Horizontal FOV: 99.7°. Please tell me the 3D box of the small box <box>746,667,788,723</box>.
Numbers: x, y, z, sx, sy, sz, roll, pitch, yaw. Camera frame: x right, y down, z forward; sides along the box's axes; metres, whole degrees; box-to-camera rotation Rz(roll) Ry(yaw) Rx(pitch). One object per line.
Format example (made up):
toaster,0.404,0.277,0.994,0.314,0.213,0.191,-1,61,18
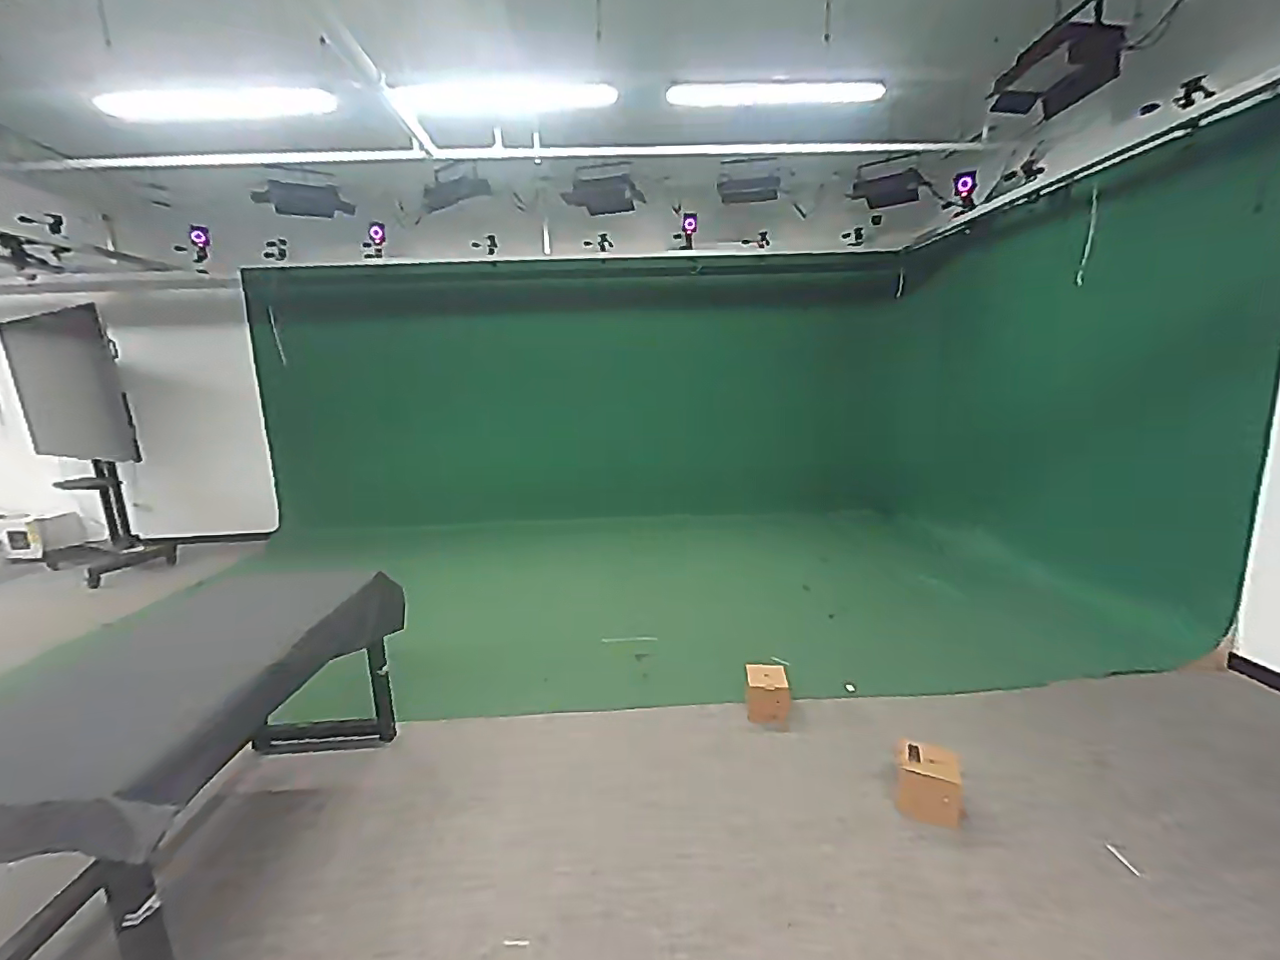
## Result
small box,0.554,0.943,2.370,0.168,0.176,0.179,1,10,6
